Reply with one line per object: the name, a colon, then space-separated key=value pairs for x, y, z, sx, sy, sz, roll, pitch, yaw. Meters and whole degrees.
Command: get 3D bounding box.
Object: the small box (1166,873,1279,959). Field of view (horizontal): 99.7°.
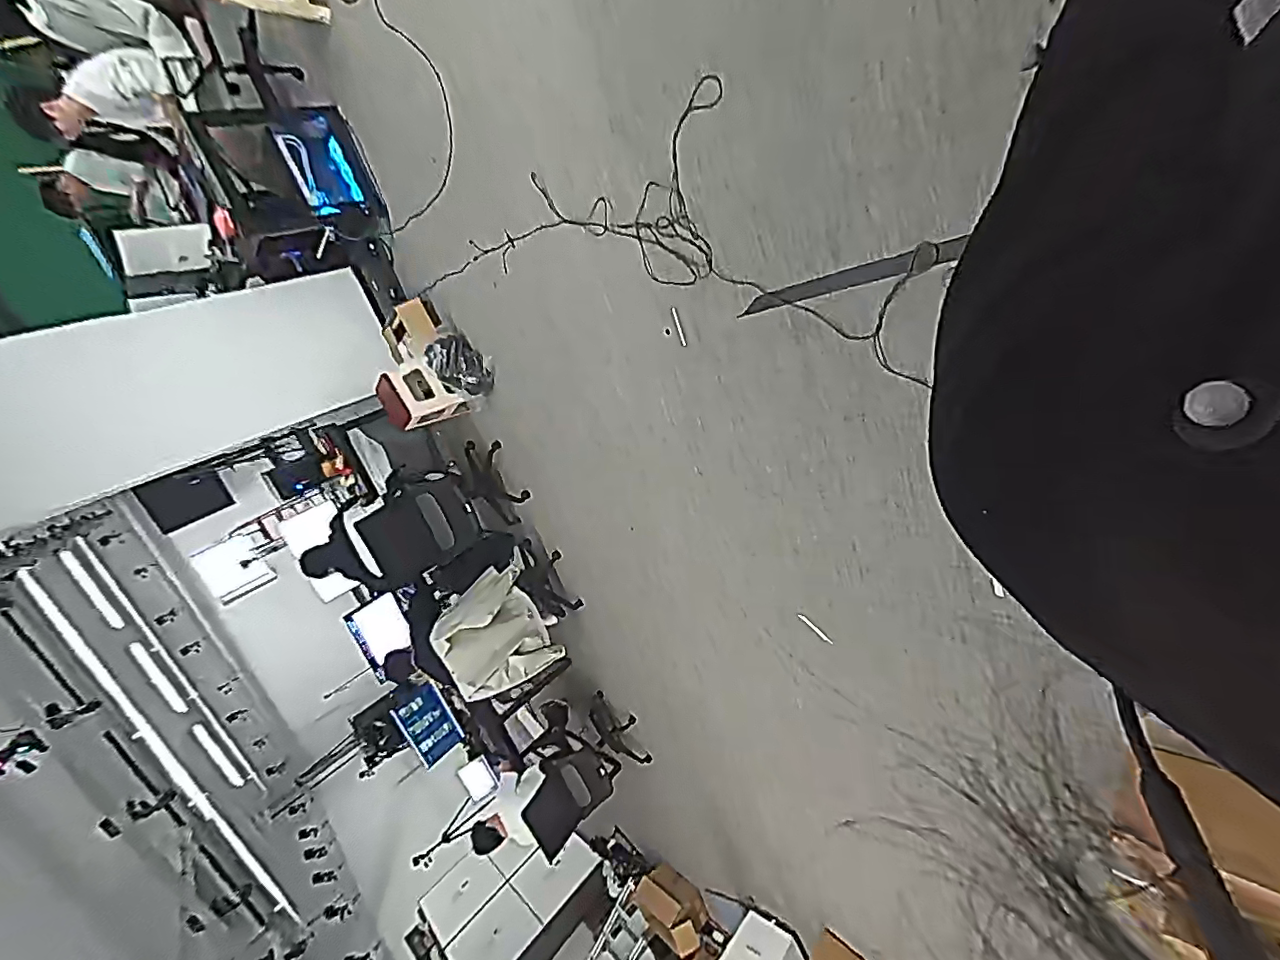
small box: x=1.295 y=1.028 z=1.192 sx=0.179 sy=0.176 sz=0.168 roll=0 pitch=114 yaw=51
